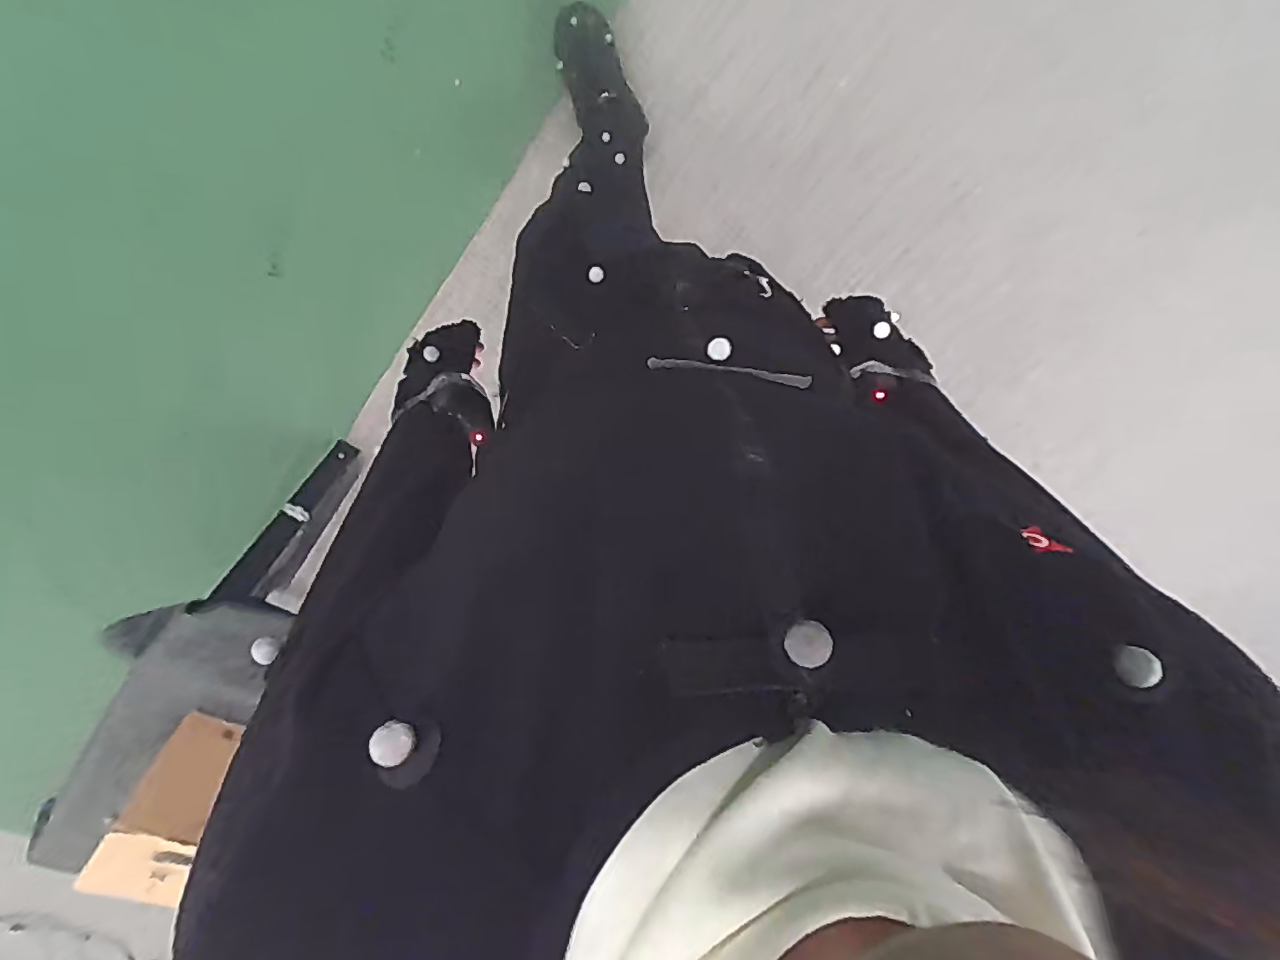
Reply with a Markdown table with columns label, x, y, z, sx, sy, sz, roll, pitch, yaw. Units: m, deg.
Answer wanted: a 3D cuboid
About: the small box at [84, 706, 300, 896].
| label | x | y | z | sx | sy | sz | roll | pitch | yaw |
| --- | --- | --- | --- | --- | --- | --- | --- | --- | --- |
| small box | -0.640 | 0.469 | 0.798 | 0.168 | 0.176 | 0.179 | 34 | 113 | -24 |
